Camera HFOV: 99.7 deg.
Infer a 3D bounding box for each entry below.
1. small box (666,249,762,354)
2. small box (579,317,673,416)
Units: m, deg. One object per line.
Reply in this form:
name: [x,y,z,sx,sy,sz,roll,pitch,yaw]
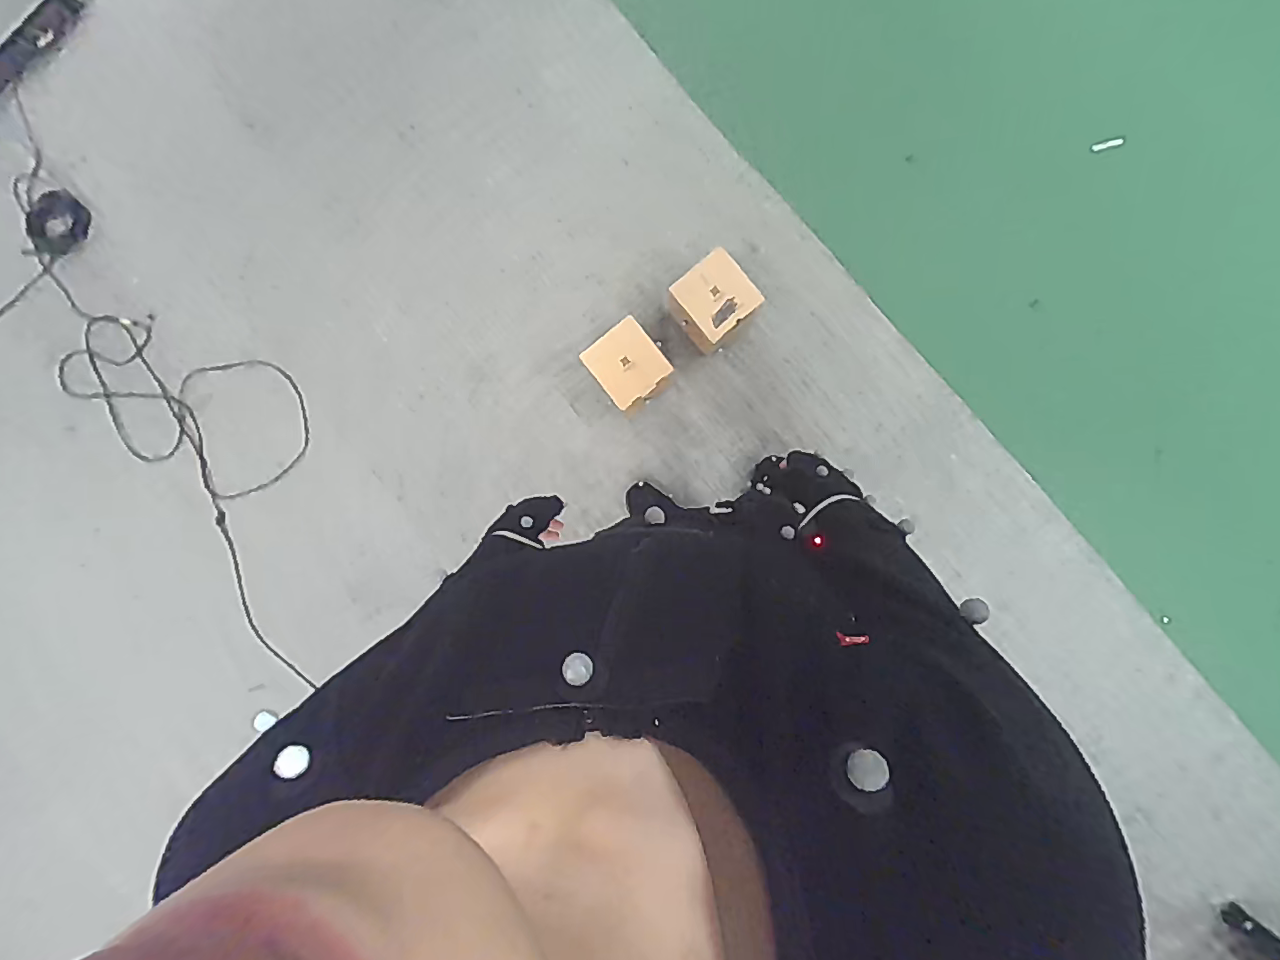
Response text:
small box: [0.183,-0.441,1.373,0.168,0.176,0.179,-39,89,3]
small box: [-0.032,-0.281,1.388,0.168,0.176,0.179,-39,90,3]
